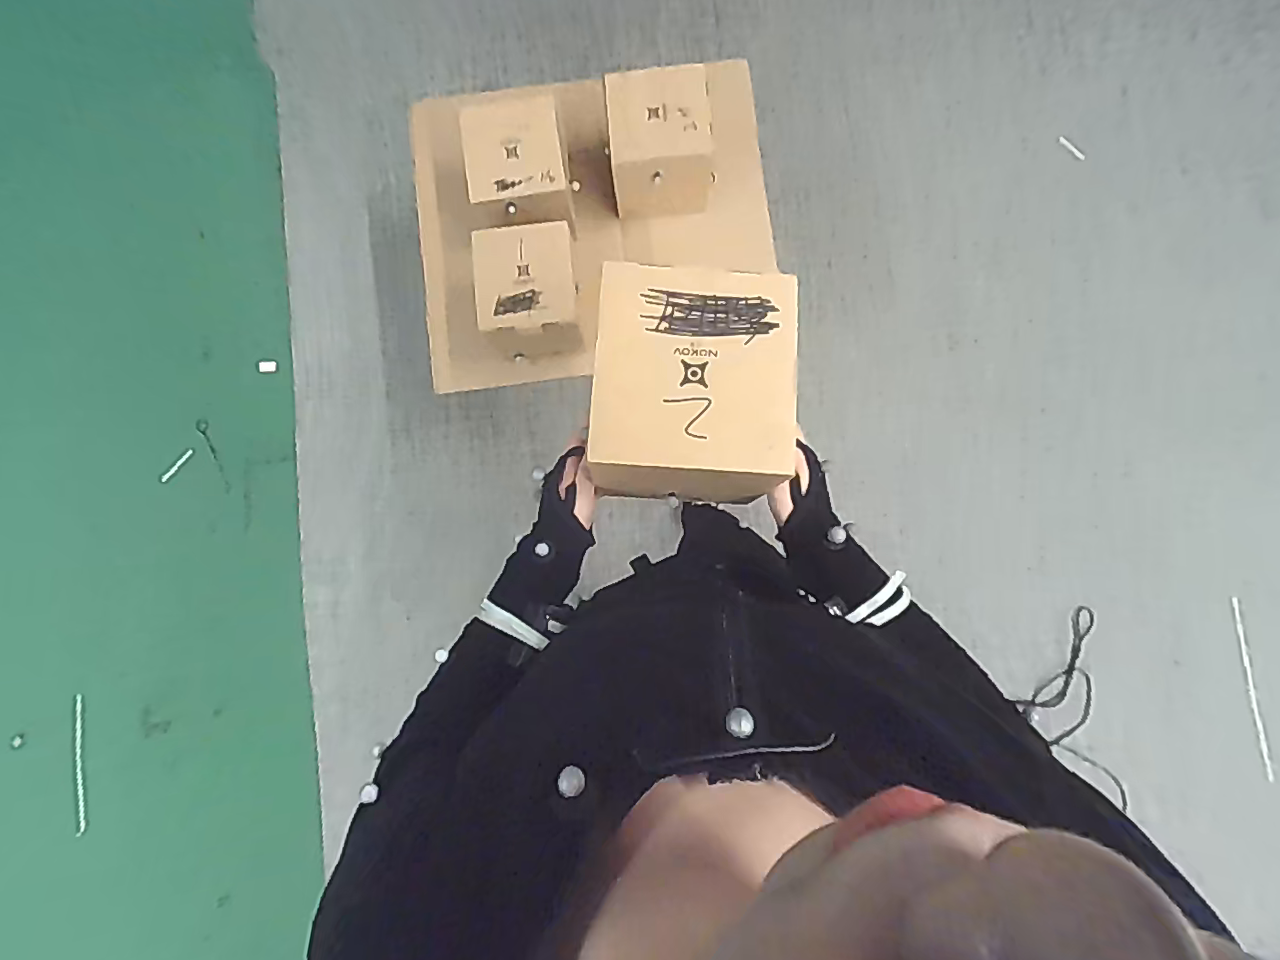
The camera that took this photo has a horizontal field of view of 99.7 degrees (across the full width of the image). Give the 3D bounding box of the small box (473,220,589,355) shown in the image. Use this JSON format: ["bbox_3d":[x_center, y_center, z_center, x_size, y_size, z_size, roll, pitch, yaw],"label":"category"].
[{"bbox_3d":[-0.188,-0.334,0.973,0.168,0.176,0.179,-6,85,1],"label":"small box"}]

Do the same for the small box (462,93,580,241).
[{"bbox_3d":[-0.210,-0.554,0.990,0.168,0.176,0.179,-8,84,3],"label":"small box"}]

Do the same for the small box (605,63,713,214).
[{"bbox_3d":[0.037,-0.611,0.990,0.179,0.176,0.168,-4,86,3],"label":"small box"}]
